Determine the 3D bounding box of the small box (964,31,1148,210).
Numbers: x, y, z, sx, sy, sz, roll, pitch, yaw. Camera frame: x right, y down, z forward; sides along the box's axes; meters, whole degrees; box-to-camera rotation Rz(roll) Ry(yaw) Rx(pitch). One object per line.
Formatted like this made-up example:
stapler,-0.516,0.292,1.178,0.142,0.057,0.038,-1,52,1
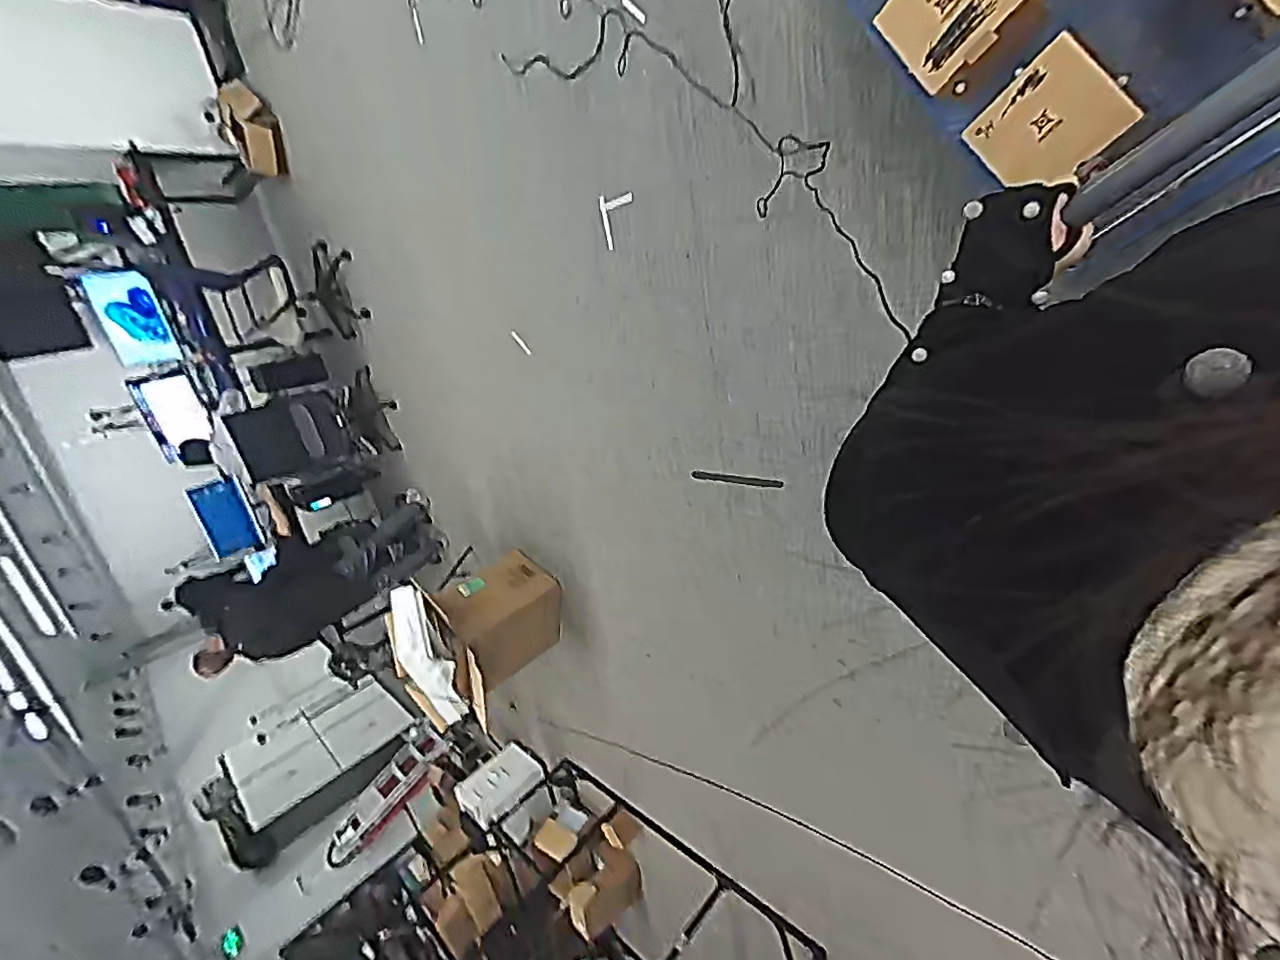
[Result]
small box,0.675,-0.572,0.876,0.179,0.176,0.168,55,138,7

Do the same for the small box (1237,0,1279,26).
small box,0.826,-0.698,0.652,0.168,0.176,0.179,-37,83,49
